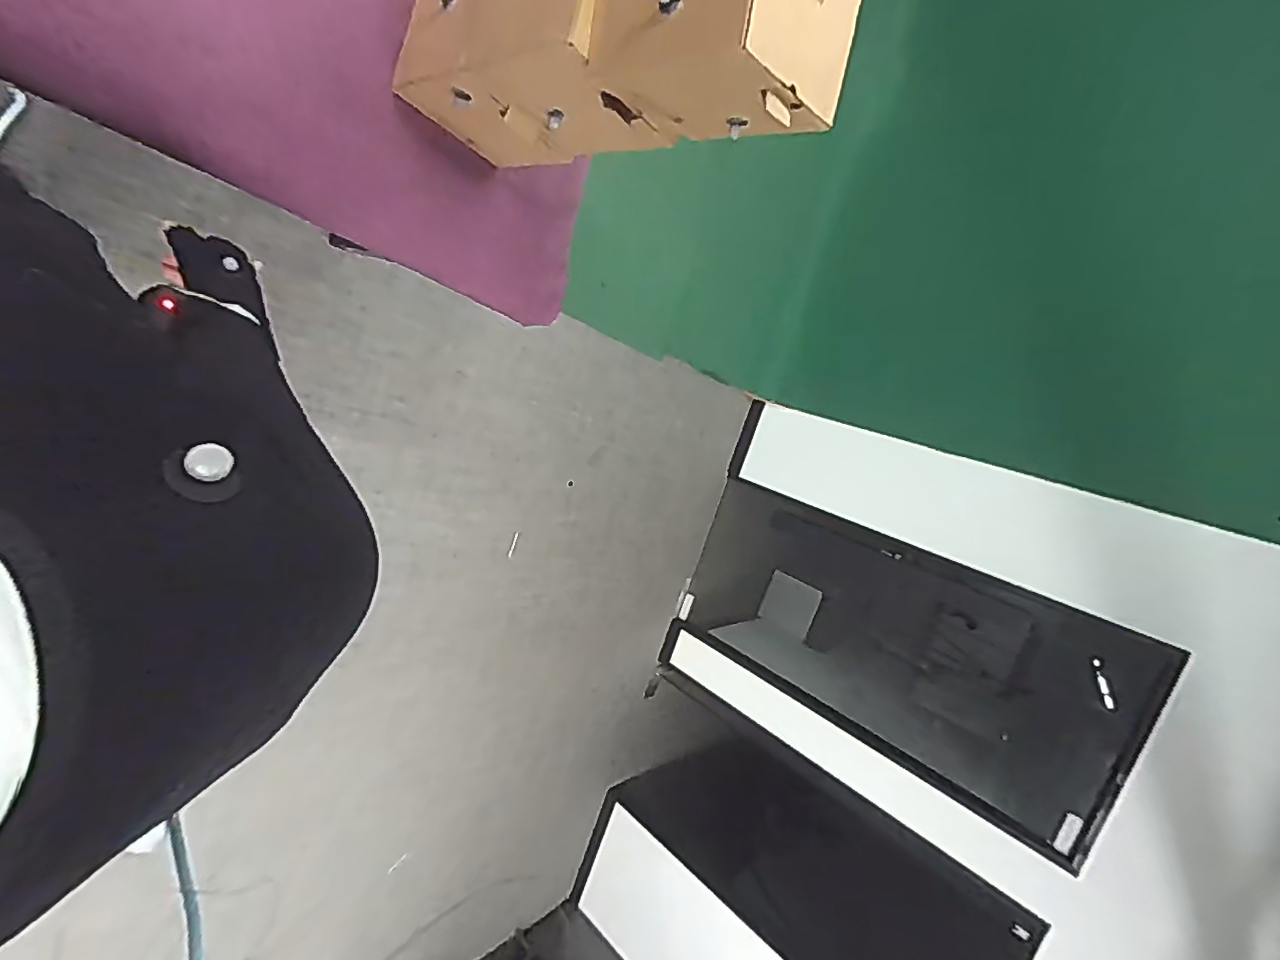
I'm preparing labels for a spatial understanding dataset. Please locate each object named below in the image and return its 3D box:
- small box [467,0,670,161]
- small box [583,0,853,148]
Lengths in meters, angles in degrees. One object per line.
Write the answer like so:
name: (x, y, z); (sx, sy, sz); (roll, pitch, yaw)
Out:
small box: (-0.057, -0.468, 0.570); (0.168, 0.176, 0.179); (6, 104, -52)
small box: (0.068, -0.415, 0.478); (0.168, 0.176, 0.179); (-11, 117, -49)
